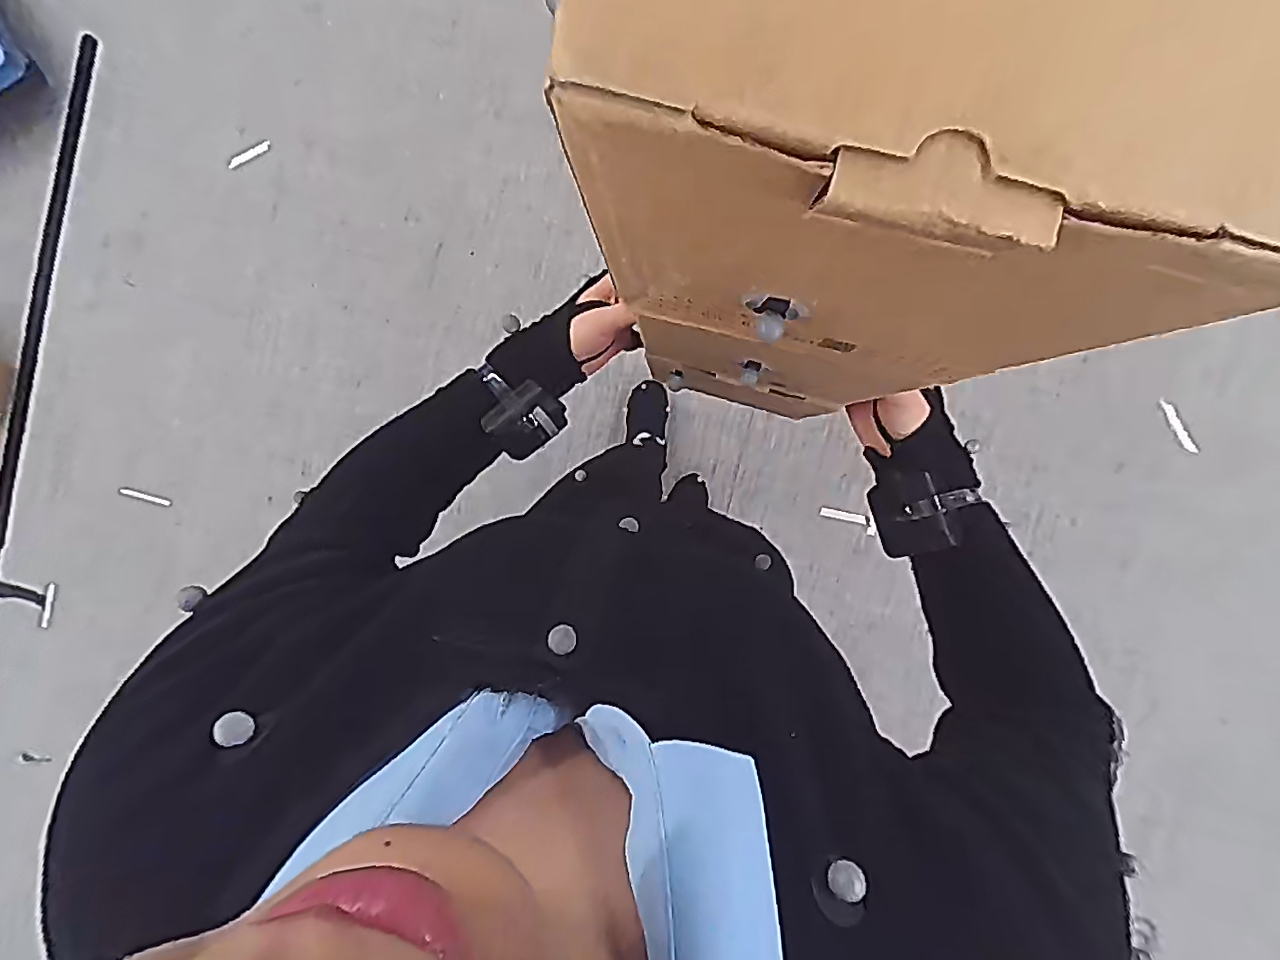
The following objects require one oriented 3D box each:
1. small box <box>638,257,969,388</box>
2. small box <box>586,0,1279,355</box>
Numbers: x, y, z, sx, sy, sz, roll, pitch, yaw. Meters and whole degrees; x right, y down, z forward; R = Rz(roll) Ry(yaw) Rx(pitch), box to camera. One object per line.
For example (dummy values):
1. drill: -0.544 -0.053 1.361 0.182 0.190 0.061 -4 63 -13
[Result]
1. small box: 0.103 -0.163 0.333 0.168 0.176 0.179 15 94 1
2. small box: 0.090 -0.153 0.171 0.168 0.176 0.179 14 95 2
